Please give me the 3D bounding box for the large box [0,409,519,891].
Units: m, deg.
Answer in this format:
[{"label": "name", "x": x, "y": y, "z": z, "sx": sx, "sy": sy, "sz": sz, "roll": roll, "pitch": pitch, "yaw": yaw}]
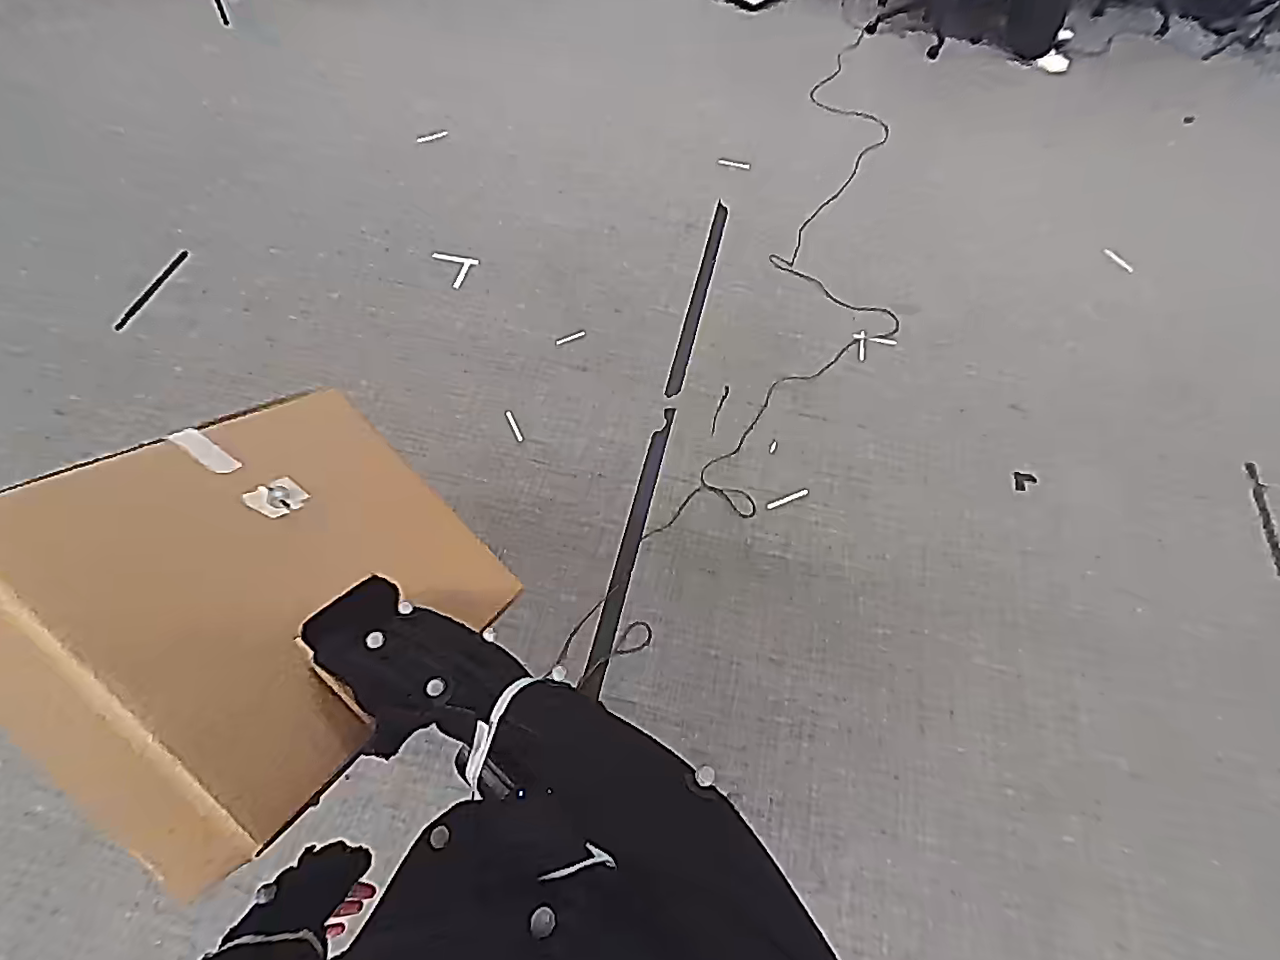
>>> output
[{"label": "large box", "x": -0.419, "y": 0.188, "z": 0.613, "sx": 0.320, "sy": 0.408, "sz": 0.320, "roll": 48, "pitch": 36, "yaw": 0}]
